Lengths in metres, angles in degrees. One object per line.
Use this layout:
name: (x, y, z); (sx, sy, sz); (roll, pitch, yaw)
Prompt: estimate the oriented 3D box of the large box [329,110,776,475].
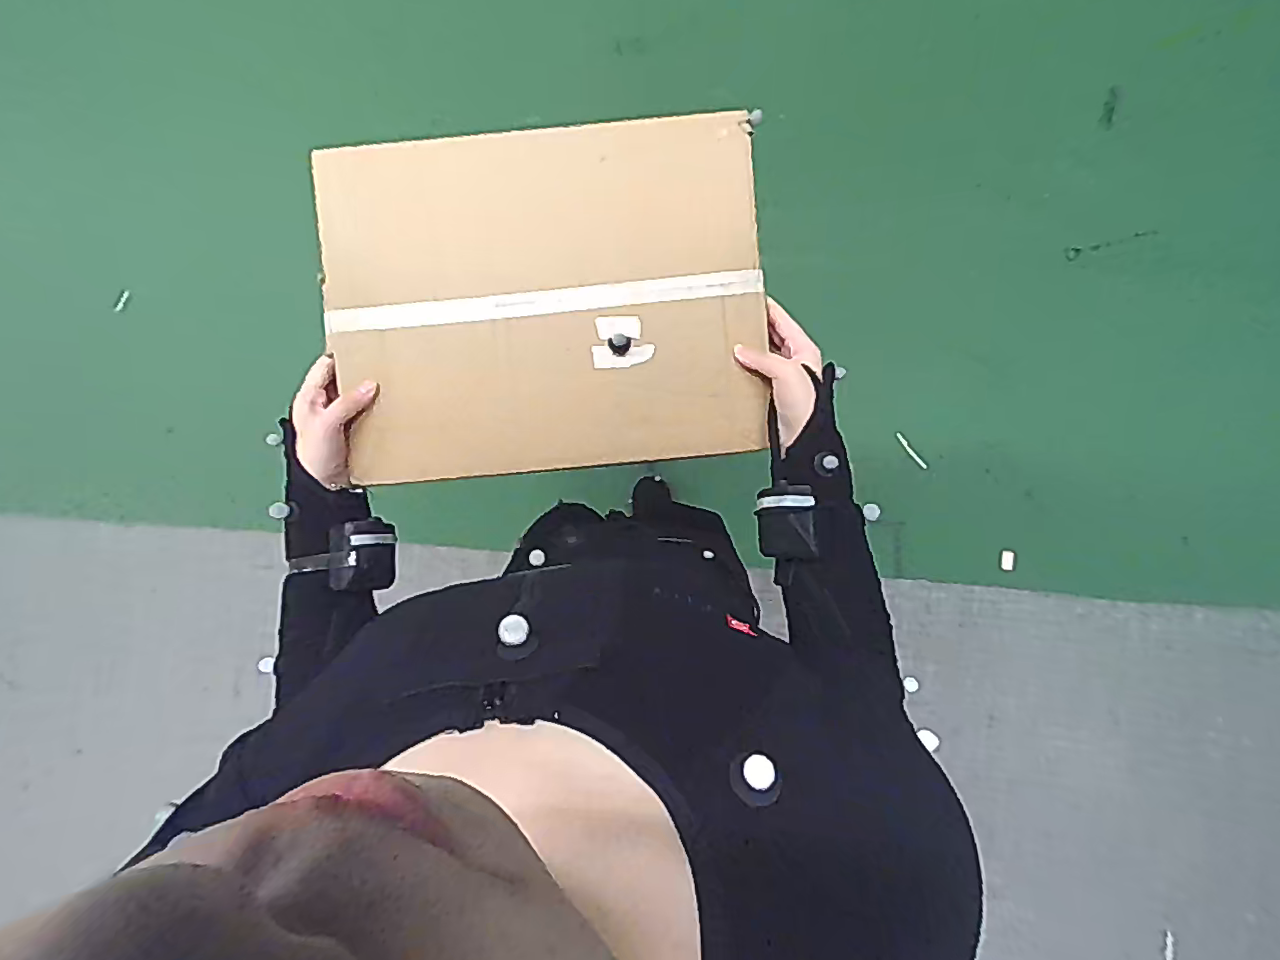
large box: (-0.084, -0.182, 0.659); (0.408, 0.320, 0.320); (-5, 93, -1)
